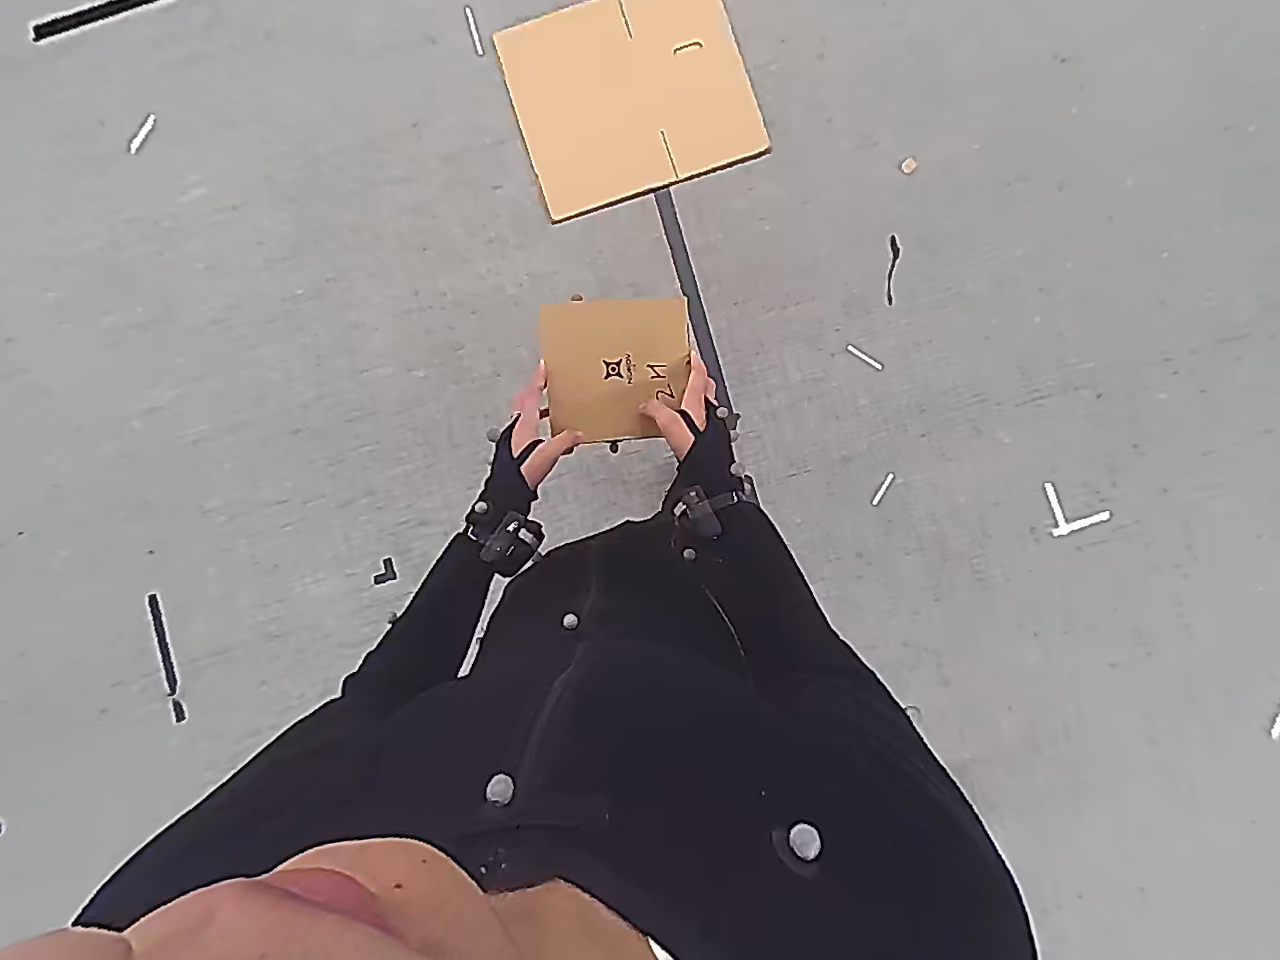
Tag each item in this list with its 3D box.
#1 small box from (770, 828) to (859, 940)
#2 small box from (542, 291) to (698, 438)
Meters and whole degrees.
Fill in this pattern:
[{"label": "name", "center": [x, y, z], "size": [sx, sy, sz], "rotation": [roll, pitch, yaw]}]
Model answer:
[{"label": "small box", "center": [0.477, 1.111, 1.508], "size": [0.168, 0.176, 0.179], "rotation": [-19, 89, 1]}, {"label": "small box", "center": [-0.032, -0.142, 0.713], "size": [0.179, 0.176, 0.168], "rotation": [-5, 95, -8]}]
